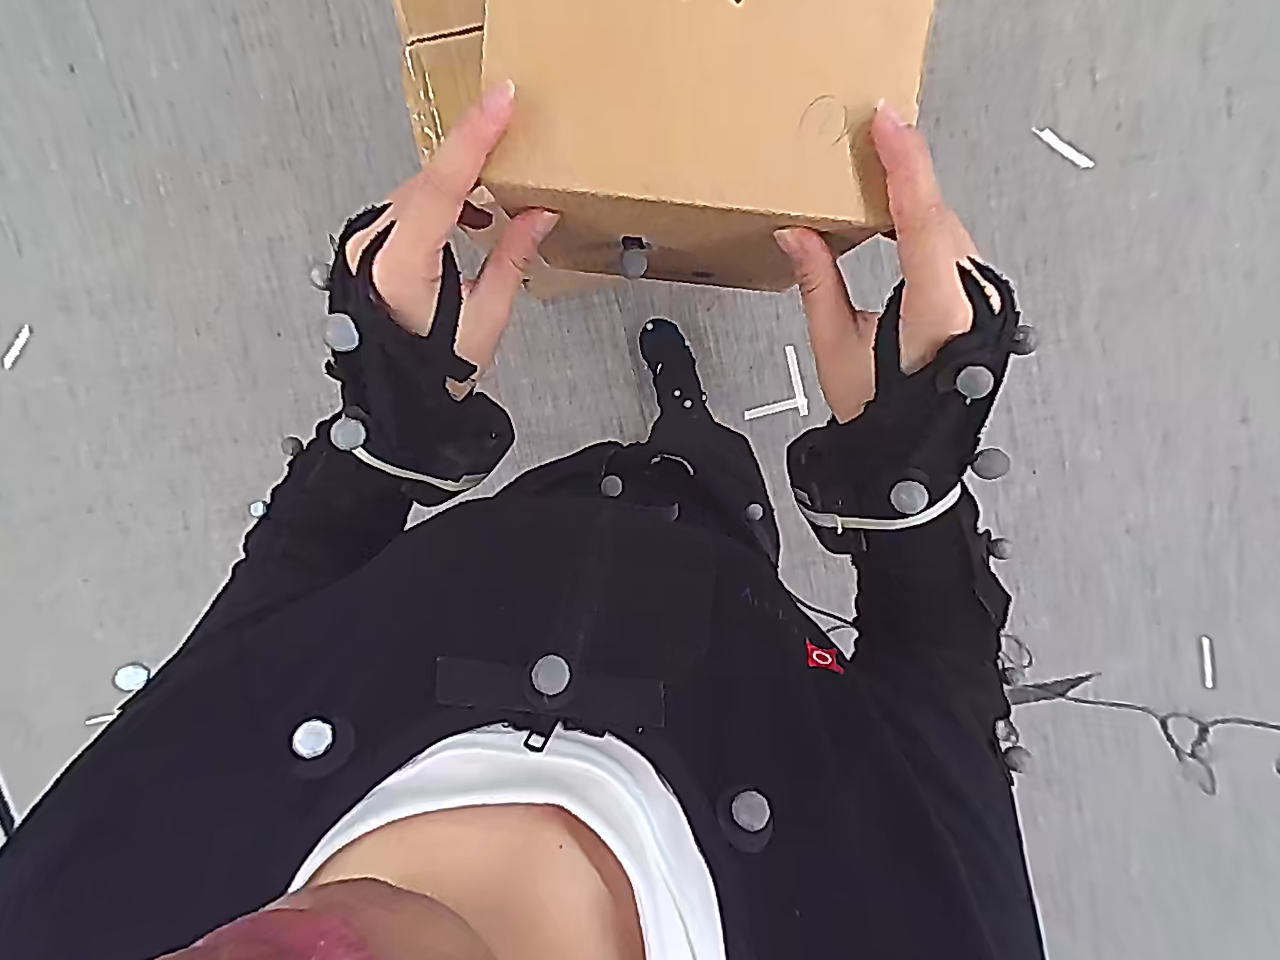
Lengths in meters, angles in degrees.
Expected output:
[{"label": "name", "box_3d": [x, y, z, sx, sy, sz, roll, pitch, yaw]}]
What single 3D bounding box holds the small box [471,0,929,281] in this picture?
[{"label": "small box", "box_3d": [0.027, -0.209, 0.271, 0.168, 0.176, 0.179, 6, 99, -1]}]
